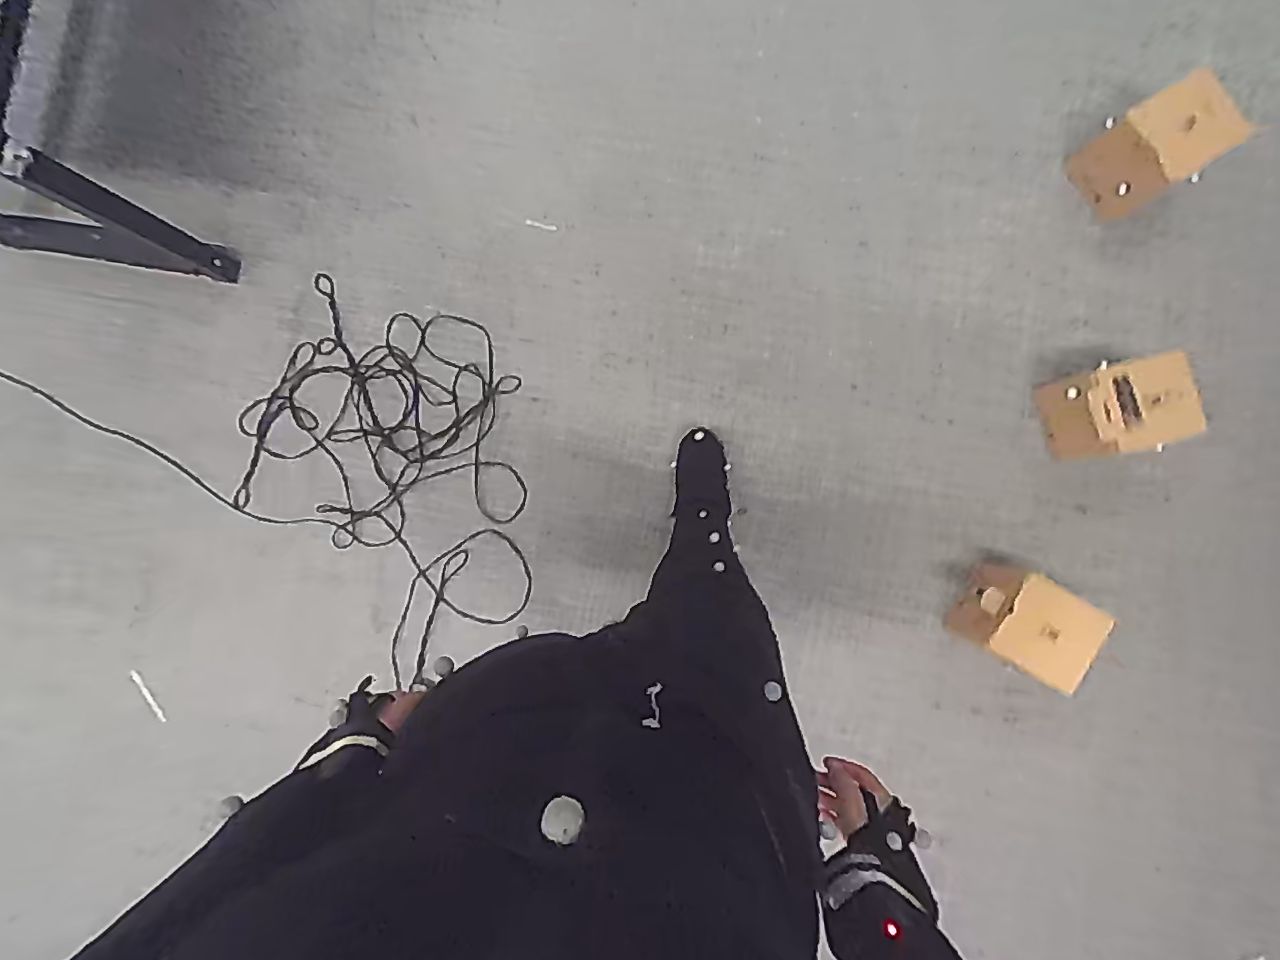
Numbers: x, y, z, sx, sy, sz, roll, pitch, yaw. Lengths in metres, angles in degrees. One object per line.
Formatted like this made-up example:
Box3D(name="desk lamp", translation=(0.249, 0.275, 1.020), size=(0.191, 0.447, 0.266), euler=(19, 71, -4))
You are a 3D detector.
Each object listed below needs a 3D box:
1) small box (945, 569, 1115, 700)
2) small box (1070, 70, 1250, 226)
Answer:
Box3D(name="small box", translation=(0.755, 0.291, 1.068), size=(0.179, 0.176, 0.168), euler=(31, 90, 4))
Box3D(name="small box", translation=(1.030, -0.658, 1.095), size=(0.179, 0.176, 0.168), euler=(-33, 88, 0))
